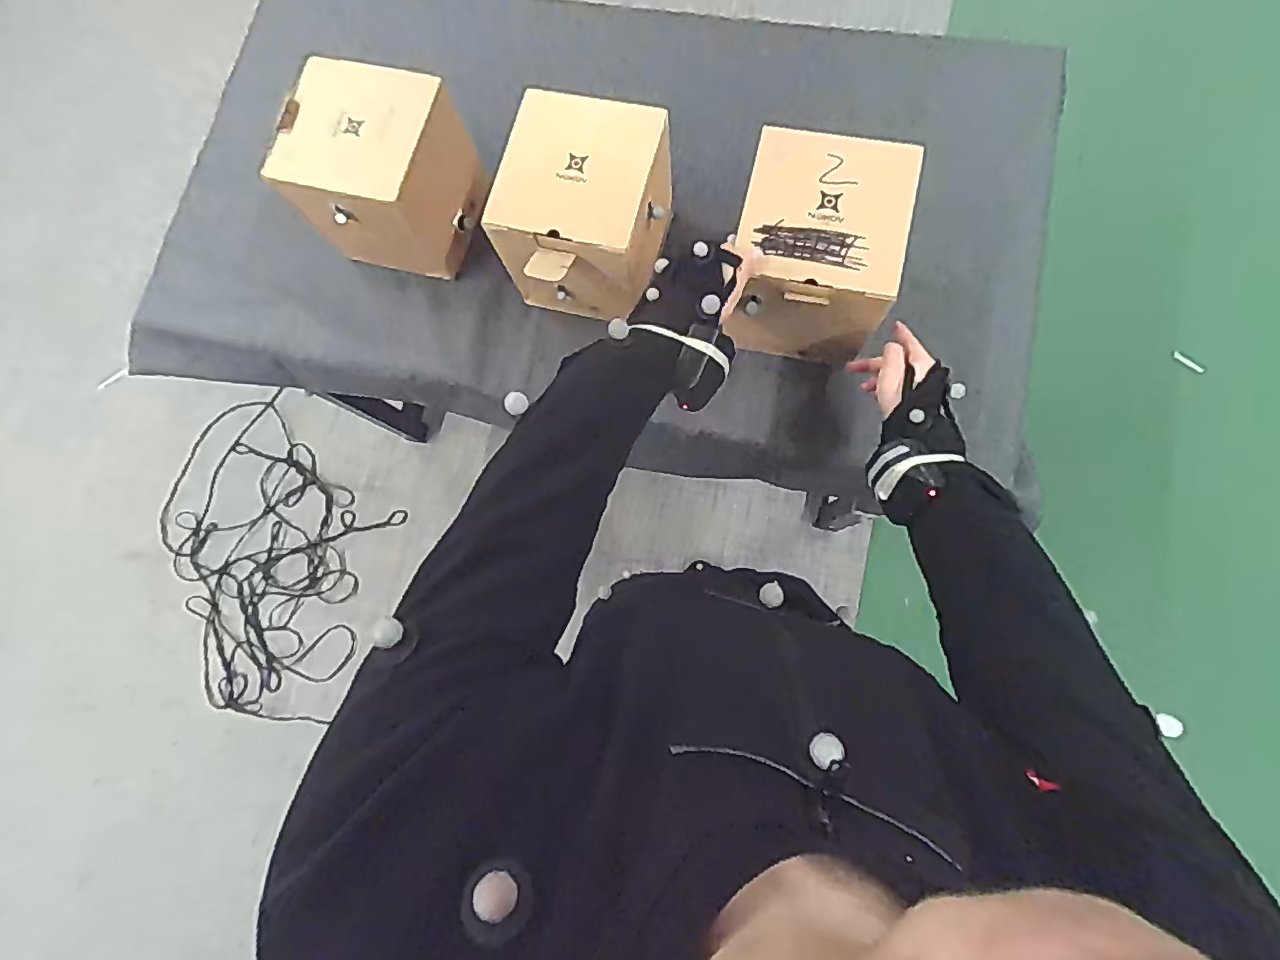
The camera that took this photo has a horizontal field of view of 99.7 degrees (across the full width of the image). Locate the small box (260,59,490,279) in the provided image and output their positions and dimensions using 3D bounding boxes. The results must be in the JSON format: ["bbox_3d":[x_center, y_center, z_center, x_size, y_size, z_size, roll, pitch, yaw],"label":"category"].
[{"bbox_3d":[-0.322,-0.384,0.693,0.179,0.176,0.168,15,82,7],"label":"small box"}]

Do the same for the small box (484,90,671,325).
[{"bbox_3d":[-0.063,-0.319,0.658,0.168,0.176,0.179,14,81,7],"label":"small box"}]
